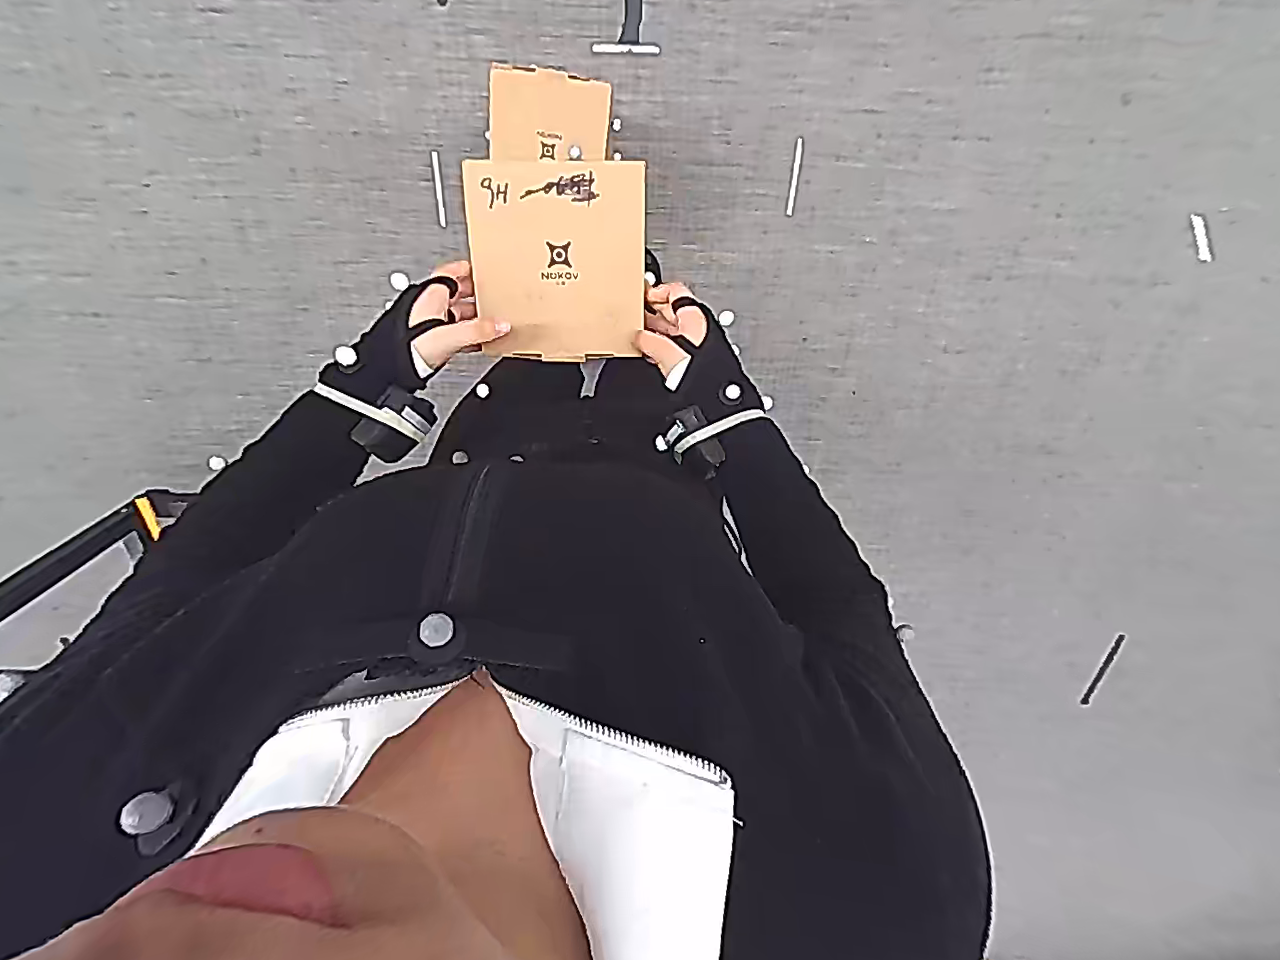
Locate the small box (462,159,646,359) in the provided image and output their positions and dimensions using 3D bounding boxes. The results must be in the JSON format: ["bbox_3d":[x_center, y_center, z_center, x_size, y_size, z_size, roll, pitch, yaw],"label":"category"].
[{"bbox_3d":[-0.077,-0.236,0.582,0.168,0.176,0.179,0,114,-1],"label":"small box"}]

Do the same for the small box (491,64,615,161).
[{"bbox_3d":[-0.128,-0.503,0.827,0.168,0.176,0.179,6,119,-4],"label":"small box"}]
